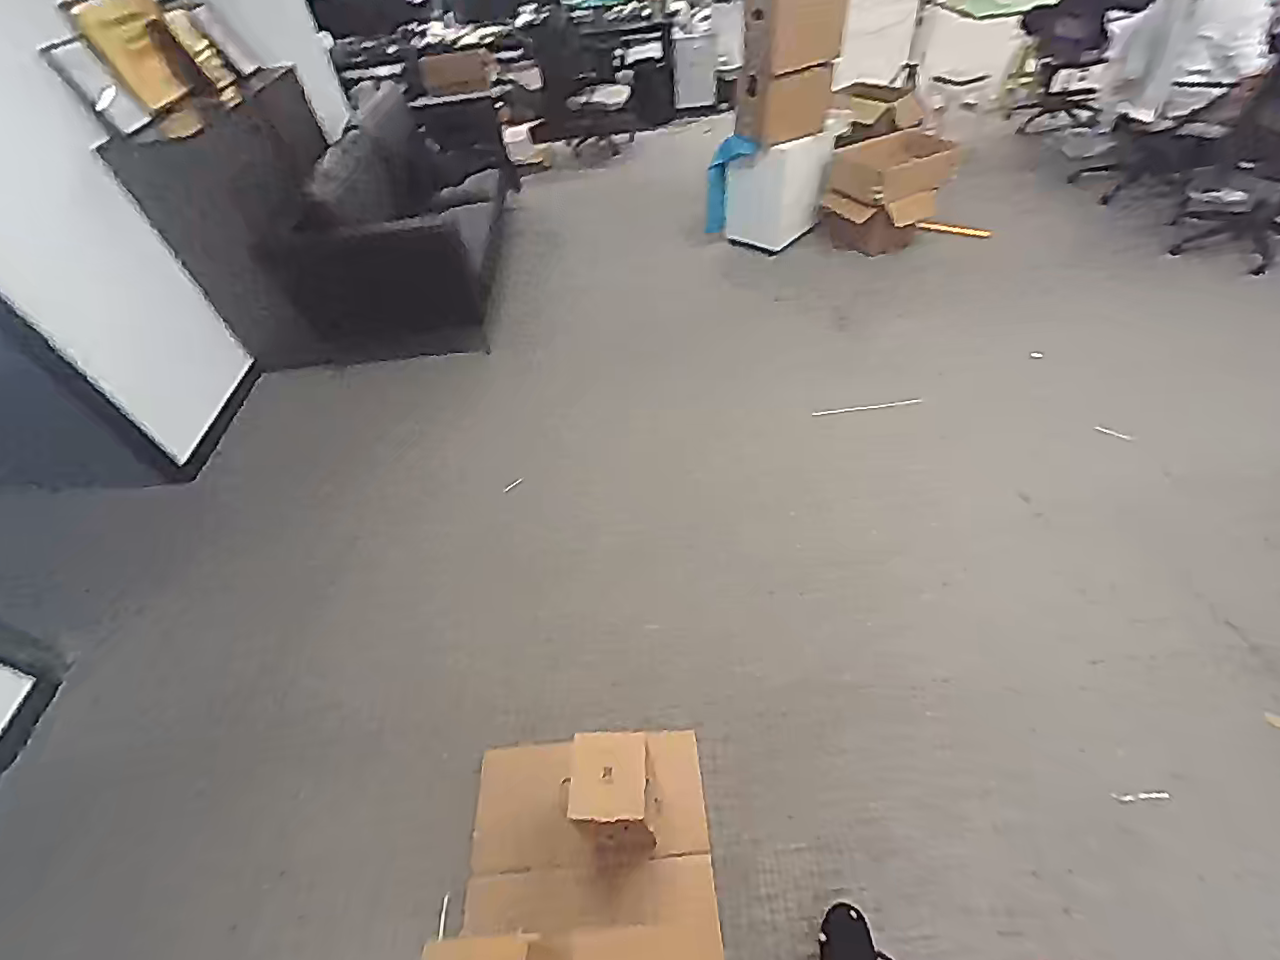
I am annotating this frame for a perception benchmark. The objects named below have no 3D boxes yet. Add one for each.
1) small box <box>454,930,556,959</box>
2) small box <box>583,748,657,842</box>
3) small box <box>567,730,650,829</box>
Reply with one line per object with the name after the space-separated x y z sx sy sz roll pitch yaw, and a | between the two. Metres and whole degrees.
-0.256 0.970 1.019 0.168 0.176 0.179 -5 49 2 | small box
-0.045 0.797 1.366 0.168 0.176 0.179 -5 48 3 | small box
-0.064 0.691 1.242 0.168 0.176 0.179 -2 49 4 | small box
